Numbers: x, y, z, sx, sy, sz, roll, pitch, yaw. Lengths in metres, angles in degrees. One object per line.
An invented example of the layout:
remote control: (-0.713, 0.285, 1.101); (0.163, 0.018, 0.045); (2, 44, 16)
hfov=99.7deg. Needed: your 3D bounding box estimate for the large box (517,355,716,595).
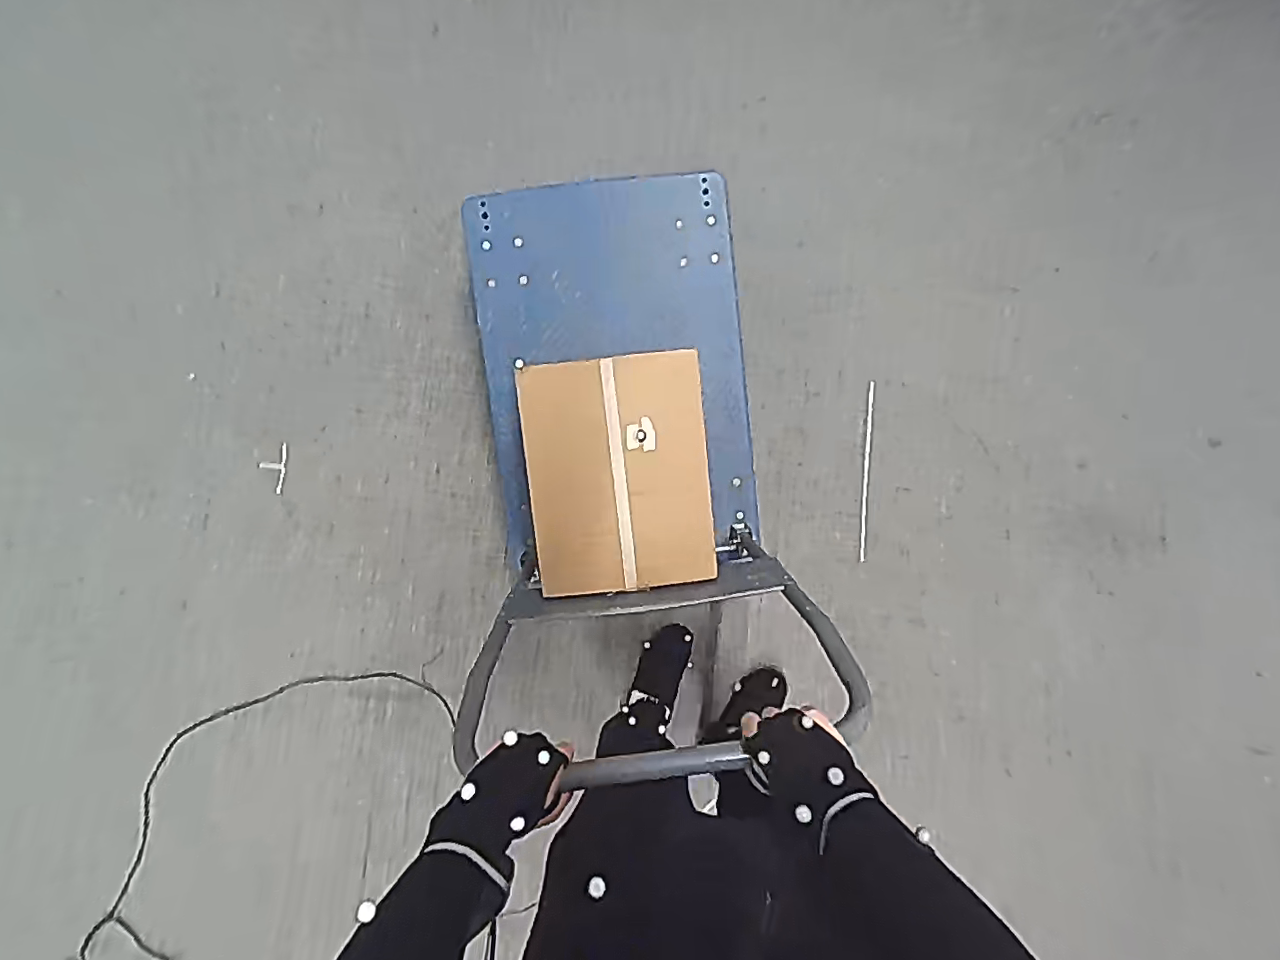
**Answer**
large box: (-0.041, -0.017, 1.106); (0.320, 0.320, 0.408); (-7, 95, -1)
